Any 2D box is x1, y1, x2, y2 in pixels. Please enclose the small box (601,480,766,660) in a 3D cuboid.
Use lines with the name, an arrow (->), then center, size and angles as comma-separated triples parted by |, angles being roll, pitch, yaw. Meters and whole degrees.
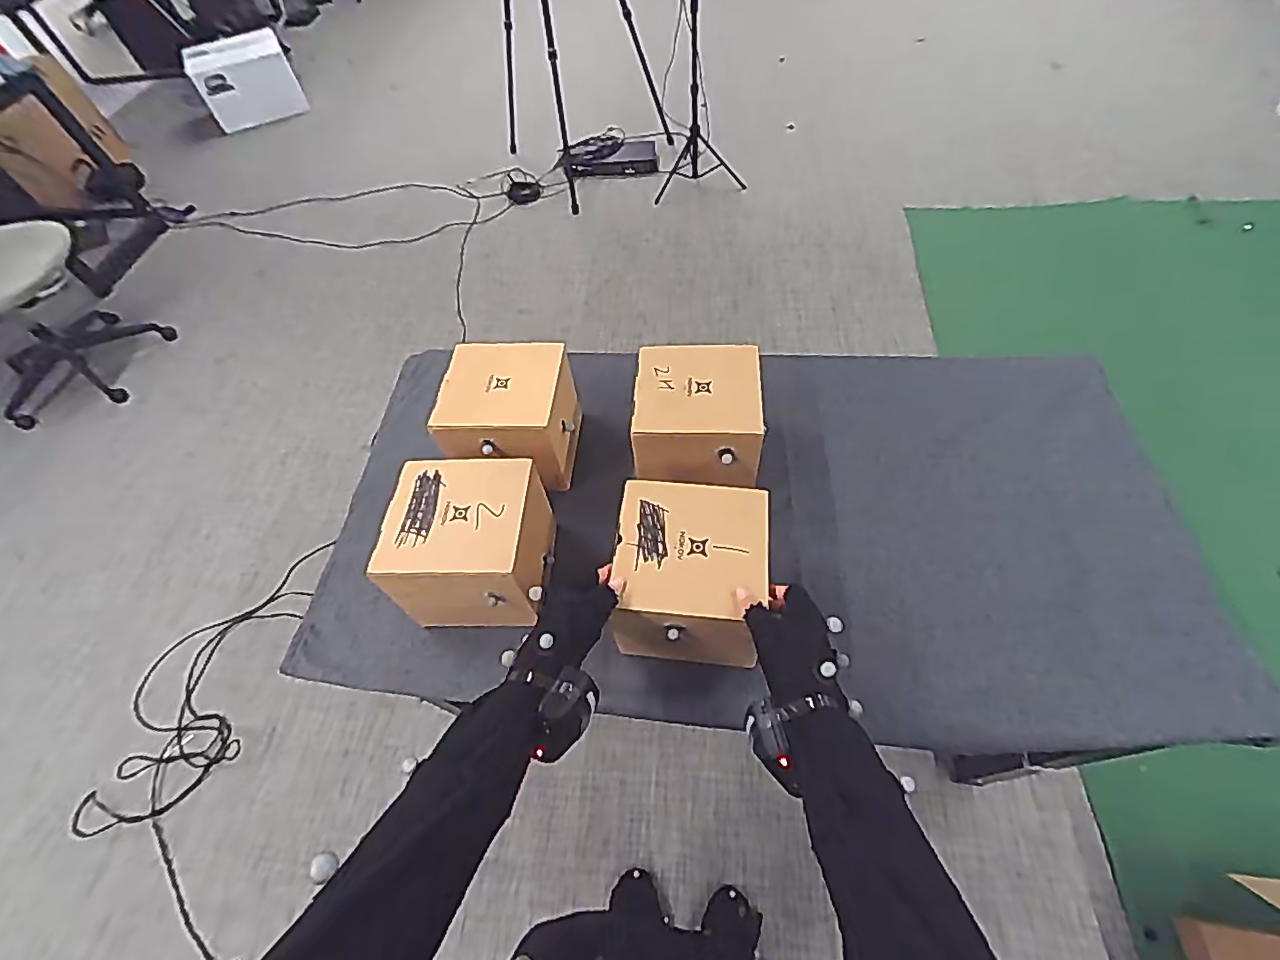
small box -> 0.061, 0.116, 0.676 | 0.179, 0.176, 0.168 | 3, 57, 8

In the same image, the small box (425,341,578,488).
small box -> -0.202, -0.098, 0.850 | 0.179, 0.176, 0.168 | 0, 57, 7
